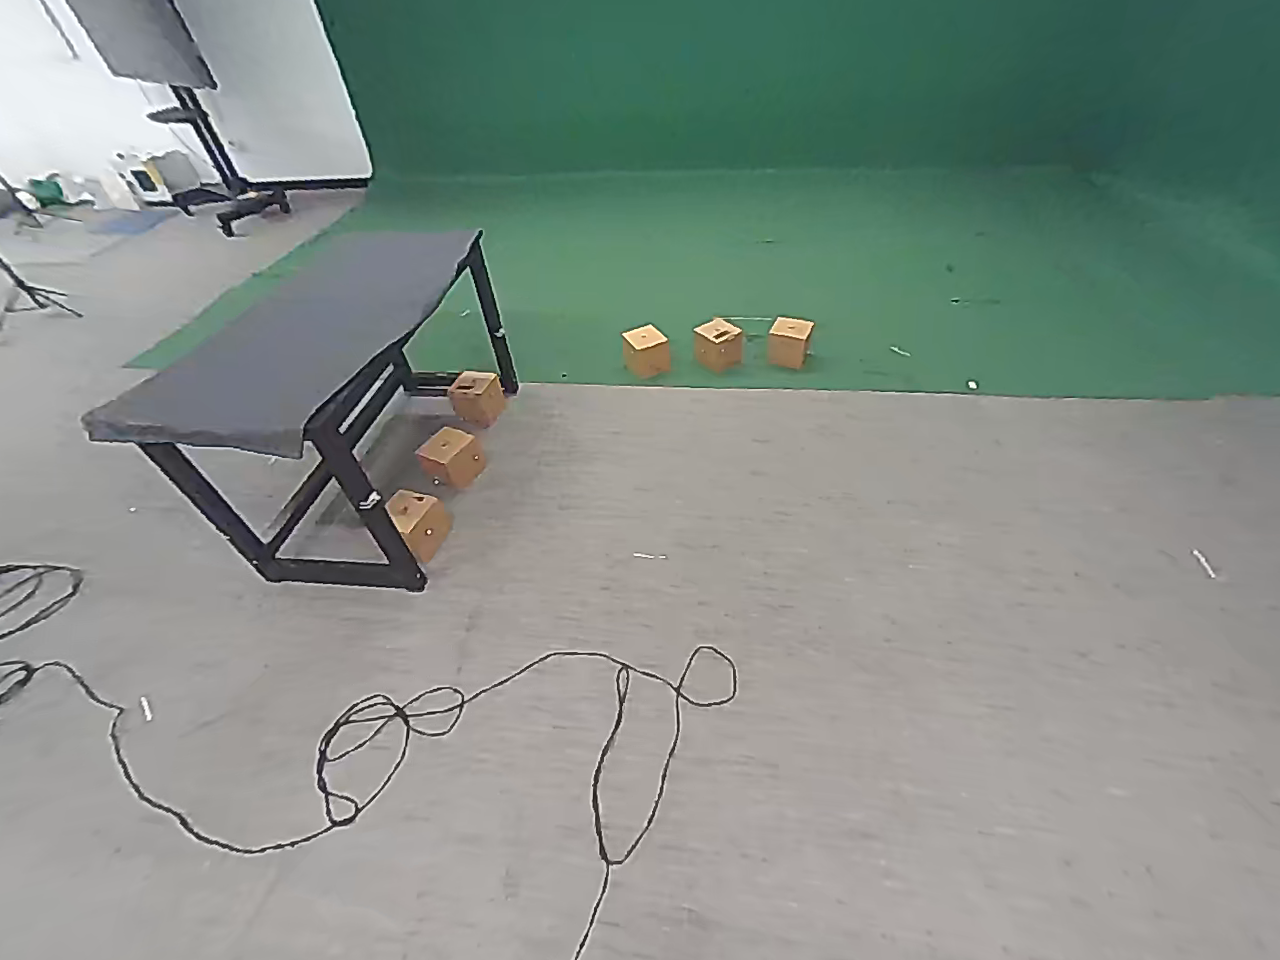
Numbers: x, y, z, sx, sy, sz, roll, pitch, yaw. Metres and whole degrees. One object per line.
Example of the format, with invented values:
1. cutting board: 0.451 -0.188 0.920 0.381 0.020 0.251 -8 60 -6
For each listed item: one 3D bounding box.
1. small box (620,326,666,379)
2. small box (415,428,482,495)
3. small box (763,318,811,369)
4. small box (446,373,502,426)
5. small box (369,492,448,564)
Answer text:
1. small box: 0.016 -0.618 2.632 0.168 0.176 0.179 -23 48 -18
2. small box: -0.752 -0.073 2.150 0.168 0.176 0.179 17 50 22
3. small box: 0.704 -0.654 2.606 0.179 0.176 0.168 17 49 20
4. small box: -0.740 -0.361 2.437 0.168 0.176 0.179 7 45 11
5. small box: -0.807 0.172 1.911 0.168 0.176 0.179 12 48 15
